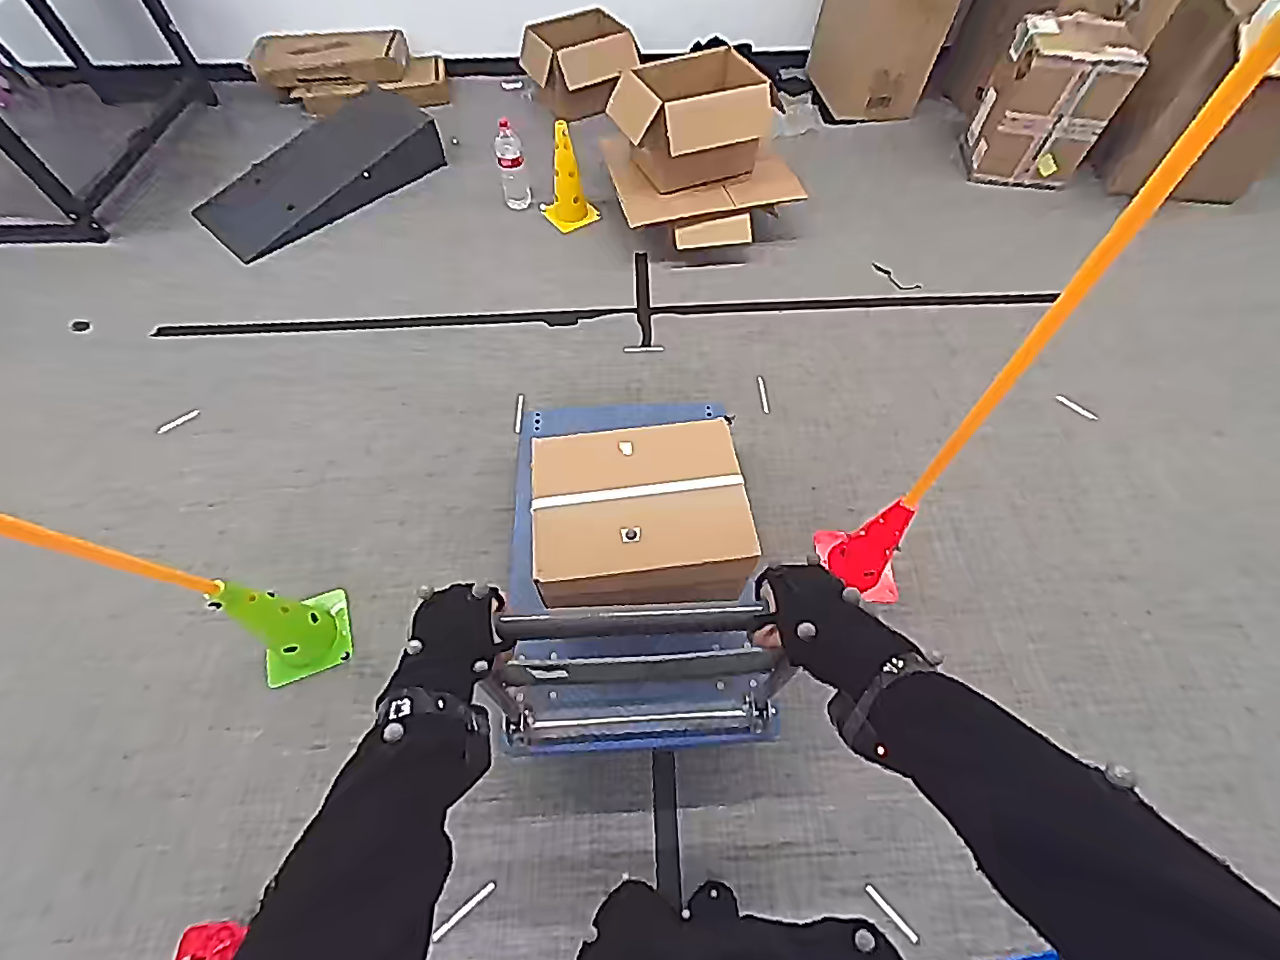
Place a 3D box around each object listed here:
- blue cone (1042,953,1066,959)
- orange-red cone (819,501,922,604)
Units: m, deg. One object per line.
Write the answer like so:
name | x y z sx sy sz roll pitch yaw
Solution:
blue cone | 0.750 0.923 0.860 0.193 0.380 0.192 -5 58 -3
orange-red cone | 0.589 0.148 1.312 0.199 0.360 0.198 4 60 1
